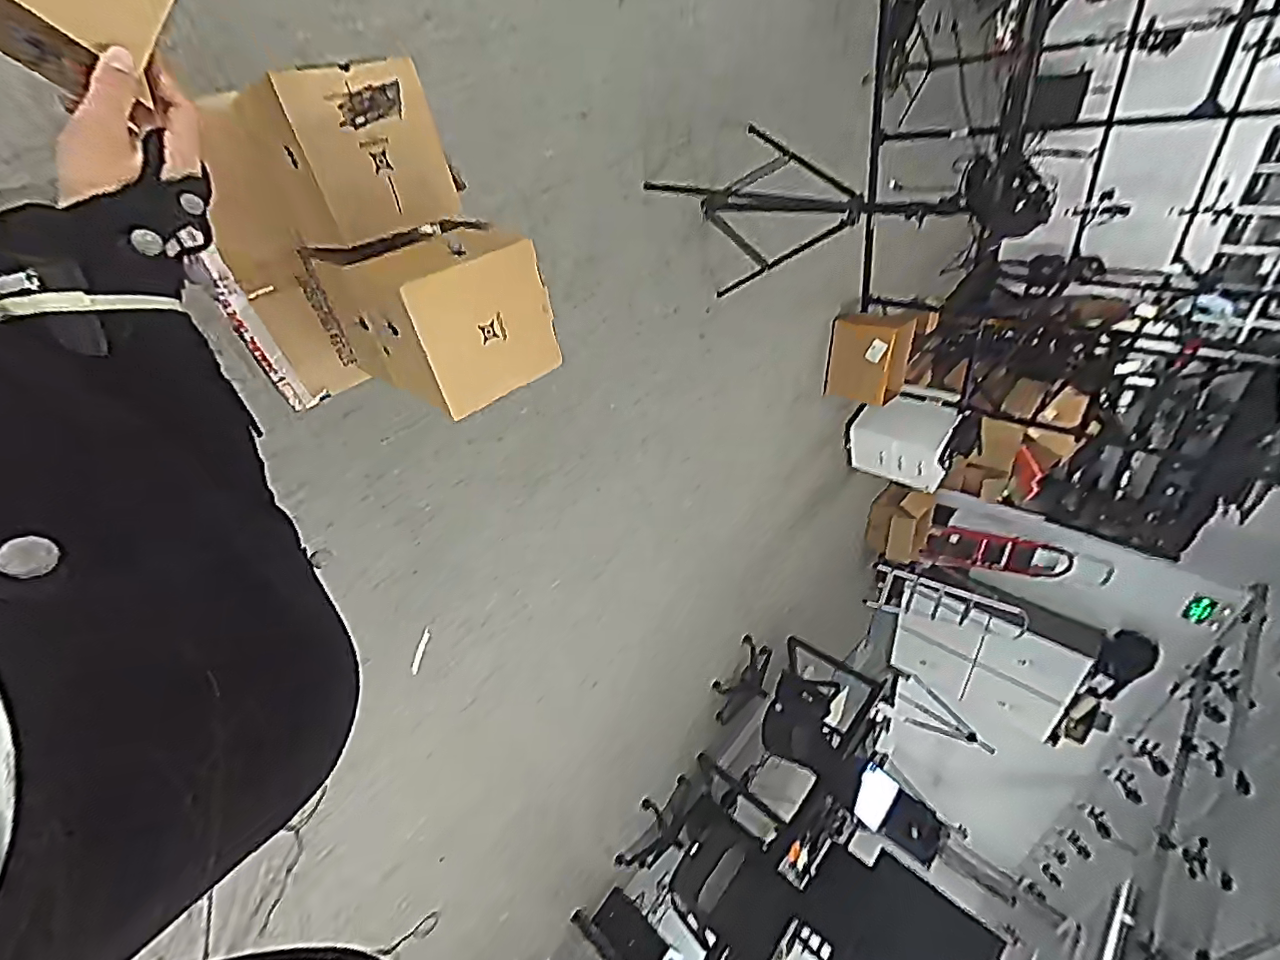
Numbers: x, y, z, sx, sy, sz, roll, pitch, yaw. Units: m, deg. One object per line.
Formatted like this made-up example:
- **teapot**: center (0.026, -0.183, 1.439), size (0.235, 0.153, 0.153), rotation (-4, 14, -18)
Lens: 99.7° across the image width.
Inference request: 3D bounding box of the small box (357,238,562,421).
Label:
- **small box**: center (-0.234, -0.203, 0.699), size (0.179, 0.176, 0.168), rotation (-37, 134, -31)
